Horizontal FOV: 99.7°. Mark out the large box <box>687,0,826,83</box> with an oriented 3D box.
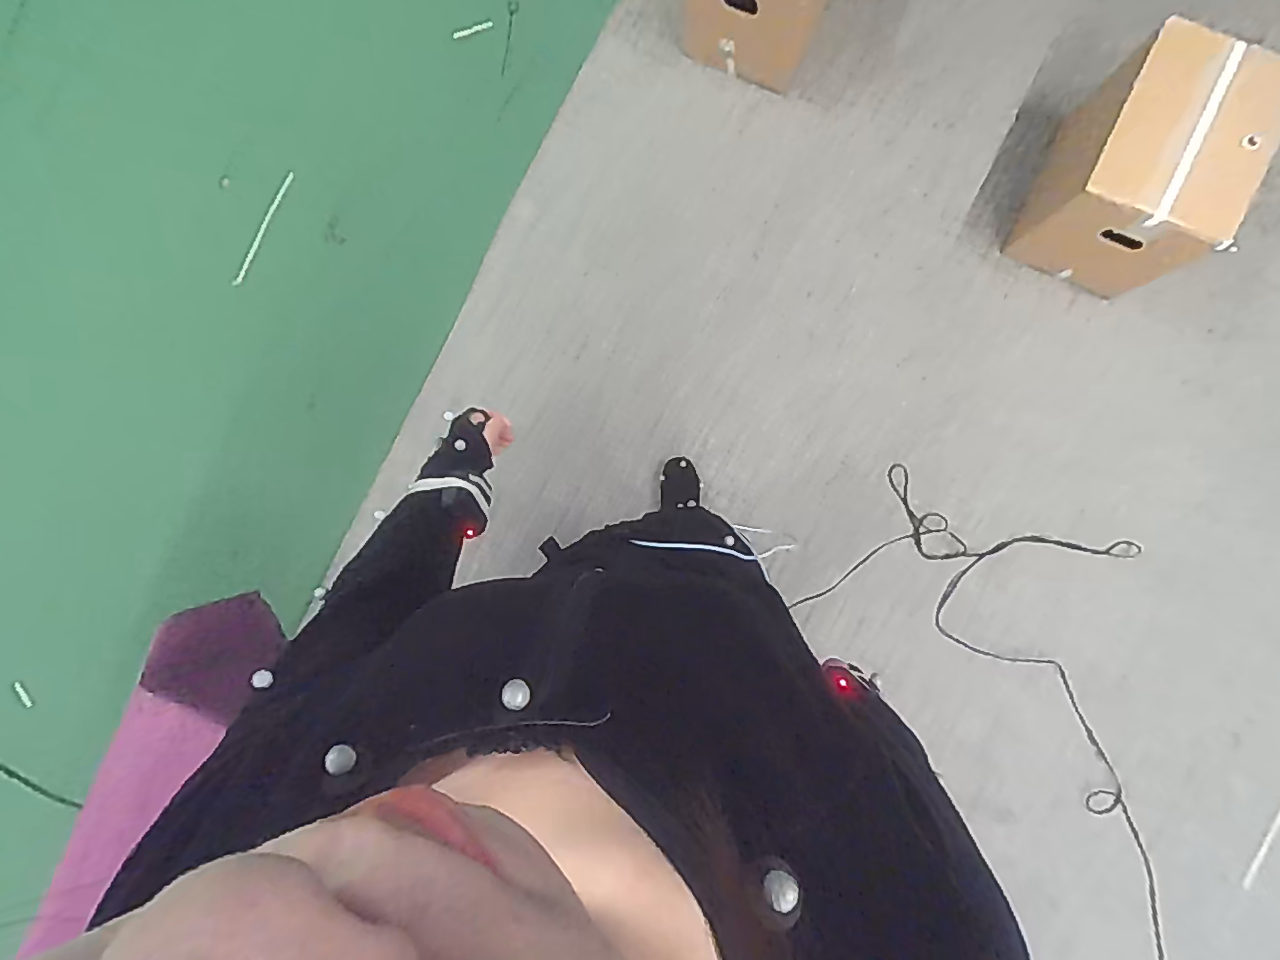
[{"bbox_3d":[0.331,-1.319,1.339,0.320,0.320,0.408,26,90,4],"label":"large box"}]
